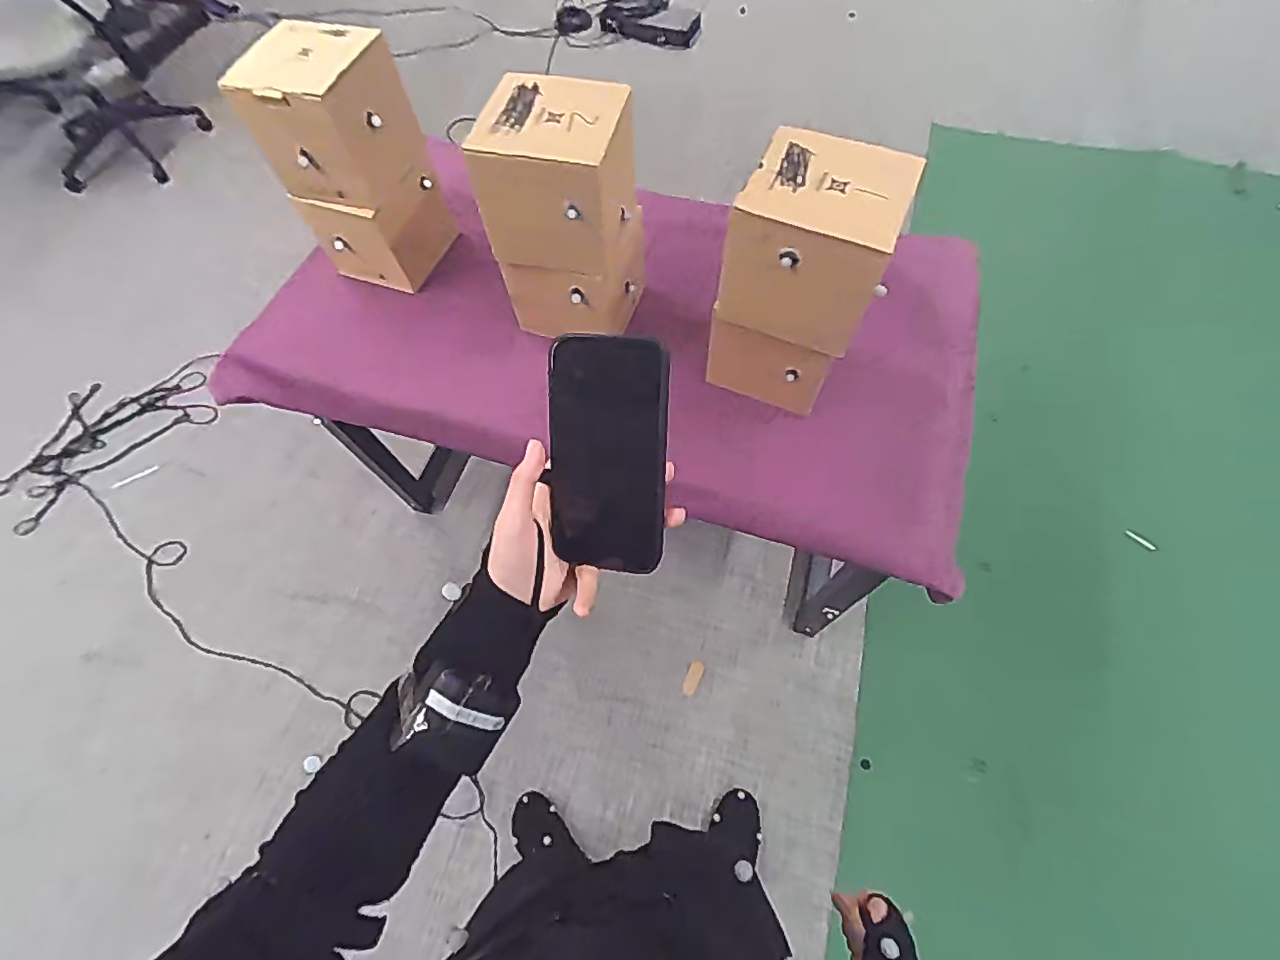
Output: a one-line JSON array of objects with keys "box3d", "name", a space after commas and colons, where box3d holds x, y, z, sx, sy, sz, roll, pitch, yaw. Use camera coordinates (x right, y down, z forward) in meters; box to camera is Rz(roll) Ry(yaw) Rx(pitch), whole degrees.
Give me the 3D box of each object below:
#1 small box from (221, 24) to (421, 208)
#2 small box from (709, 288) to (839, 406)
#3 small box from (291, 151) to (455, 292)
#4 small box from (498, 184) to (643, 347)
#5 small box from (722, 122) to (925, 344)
[{"box3d": [-0.467, -0.549, 0.827, 0.168, 0.176, 0.179, 12, 65, 8], "name": "small box"}, {"box3d": [0.216, -0.237, 0.818, 0.179, 0.176, 0.168, 22, 66, 14], "name": "small box"}, {"box3d": [-0.461, -0.468, 0.970, 0.168, 0.176, 0.179, 17, 65, 11], "name": "small box"}, {"box3d": [-0.100, -0.344, 0.887, 0.179, 0.176, 0.168, 16, 65, 11], "name": "small box"}, {"box3d": [0.211, -0.295, 0.665, 0.179, 0.176, 0.168, 22, 66, 13], "name": "small box"}]
